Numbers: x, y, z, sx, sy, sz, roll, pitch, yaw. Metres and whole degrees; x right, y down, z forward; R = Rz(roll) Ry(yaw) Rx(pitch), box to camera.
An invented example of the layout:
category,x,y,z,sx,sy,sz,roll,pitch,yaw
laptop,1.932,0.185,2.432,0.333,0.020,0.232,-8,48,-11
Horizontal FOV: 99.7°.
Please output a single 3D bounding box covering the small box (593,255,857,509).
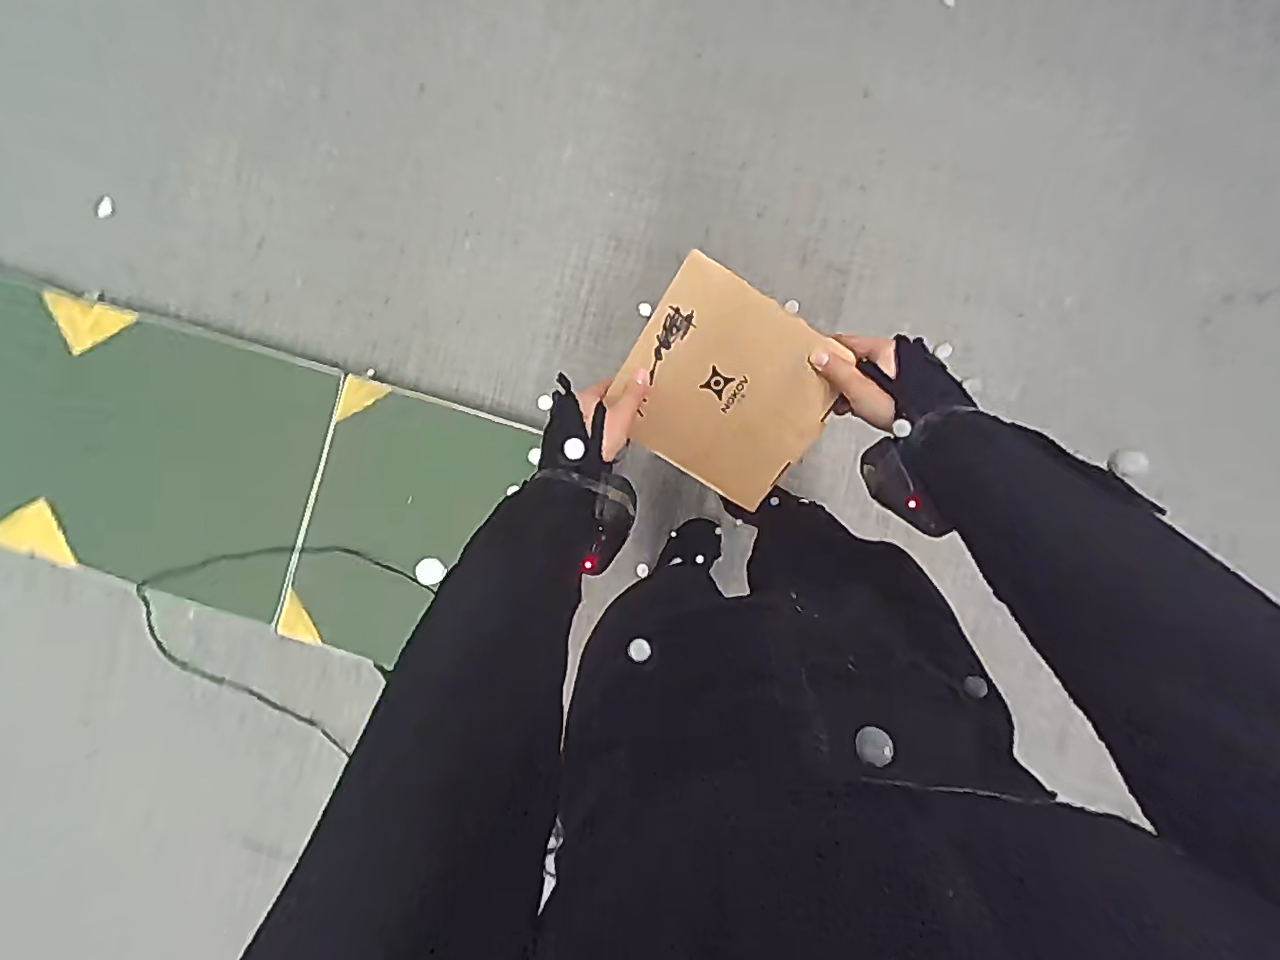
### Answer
category,x,y,z,sx,sy,sz,roll,pitch,yaw
small box,0.079,-0.105,0.549,0.179,0.176,0.168,31,109,-5
